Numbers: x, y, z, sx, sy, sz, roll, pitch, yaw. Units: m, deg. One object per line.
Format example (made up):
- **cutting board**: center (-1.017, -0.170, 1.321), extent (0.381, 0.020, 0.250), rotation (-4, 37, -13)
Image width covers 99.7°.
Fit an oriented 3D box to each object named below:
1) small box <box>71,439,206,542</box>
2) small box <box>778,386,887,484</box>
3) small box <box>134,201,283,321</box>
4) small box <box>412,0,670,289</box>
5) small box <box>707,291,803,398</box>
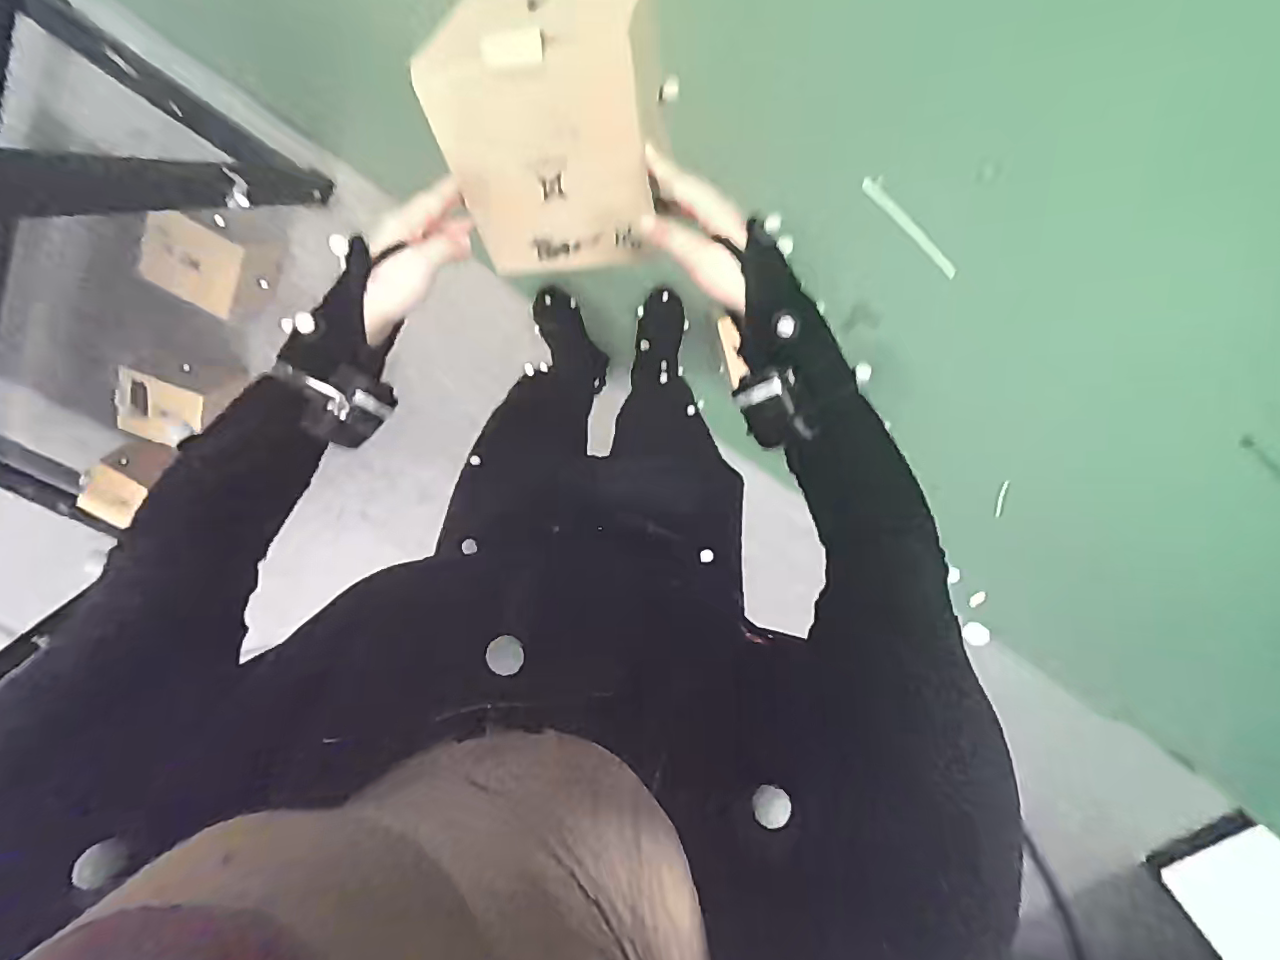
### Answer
- **small box**: center (-1.295, 0.021, 1.408), extent (0.179, 0.176, 0.168), rotation (37, 112, -18)
- **small box**: center (0.470, -0.119, 1.356), extent (0.179, 0.176, 0.168), rotation (18, 117, -11)
- **small box**: center (-0.903, -0.470, 1.147), extent (0.179, 0.176, 0.168), rotation (28, 114, -15)
- **small box**: center (-0.065, -0.300, 0.481), extent (0.168, 0.176, 0.179), rotation (-1, 146, 10)
- **small box**: center (0.261, -0.316, 1.248), extent (0.168, 0.176, 0.179), rotation (-17, 116, 7)
